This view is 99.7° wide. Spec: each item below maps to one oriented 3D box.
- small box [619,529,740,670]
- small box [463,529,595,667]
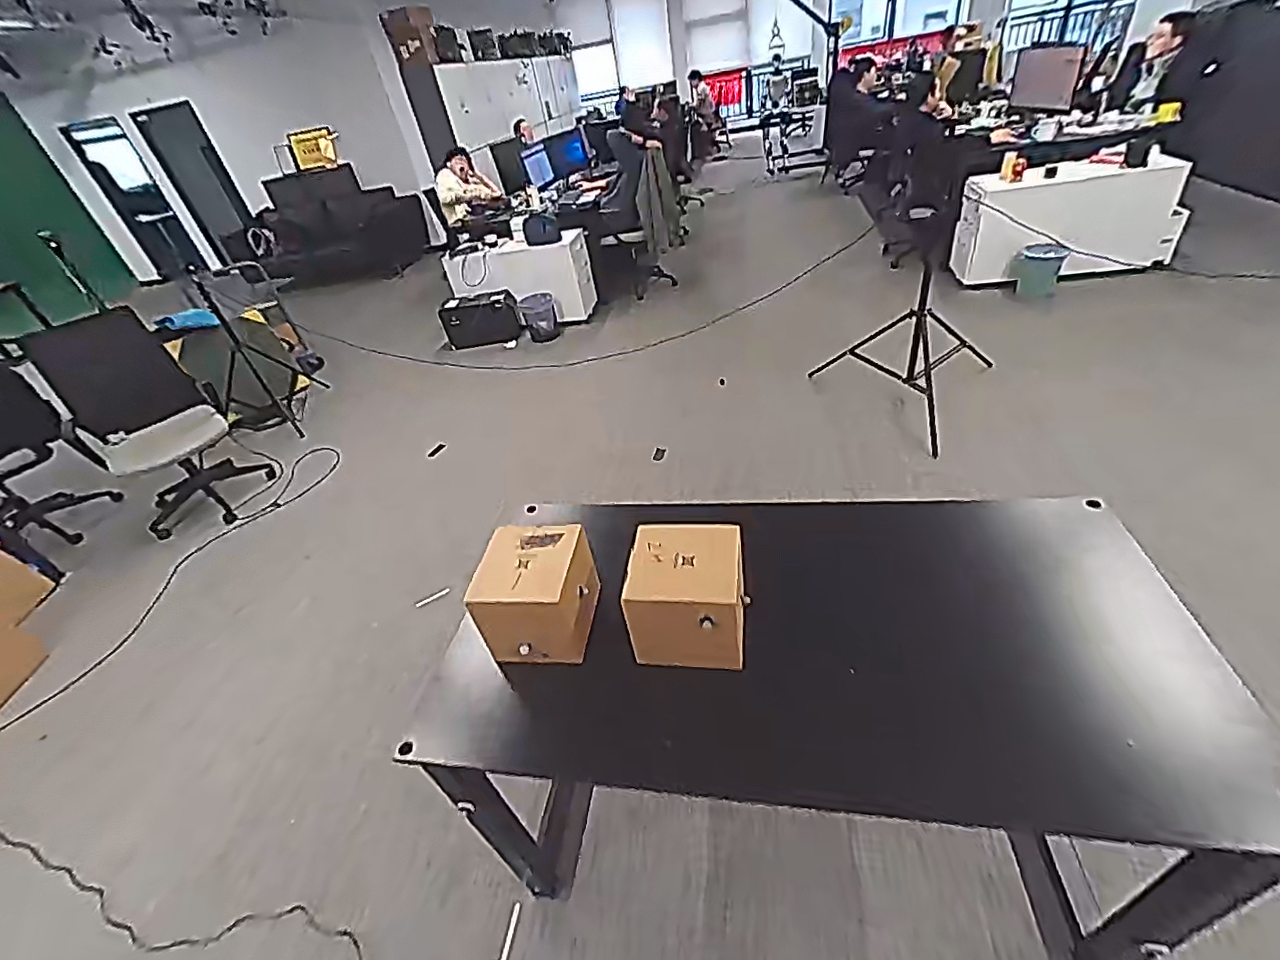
[{"bbox_3d":[0.076,0.200,0.906,0.179,0.176,0.168,-1,38,13],"label":"small box"},{"bbox_3d":[-0.184,0.207,0.965,0.168,0.176,0.179,-3,39,12],"label":"small box"}]
